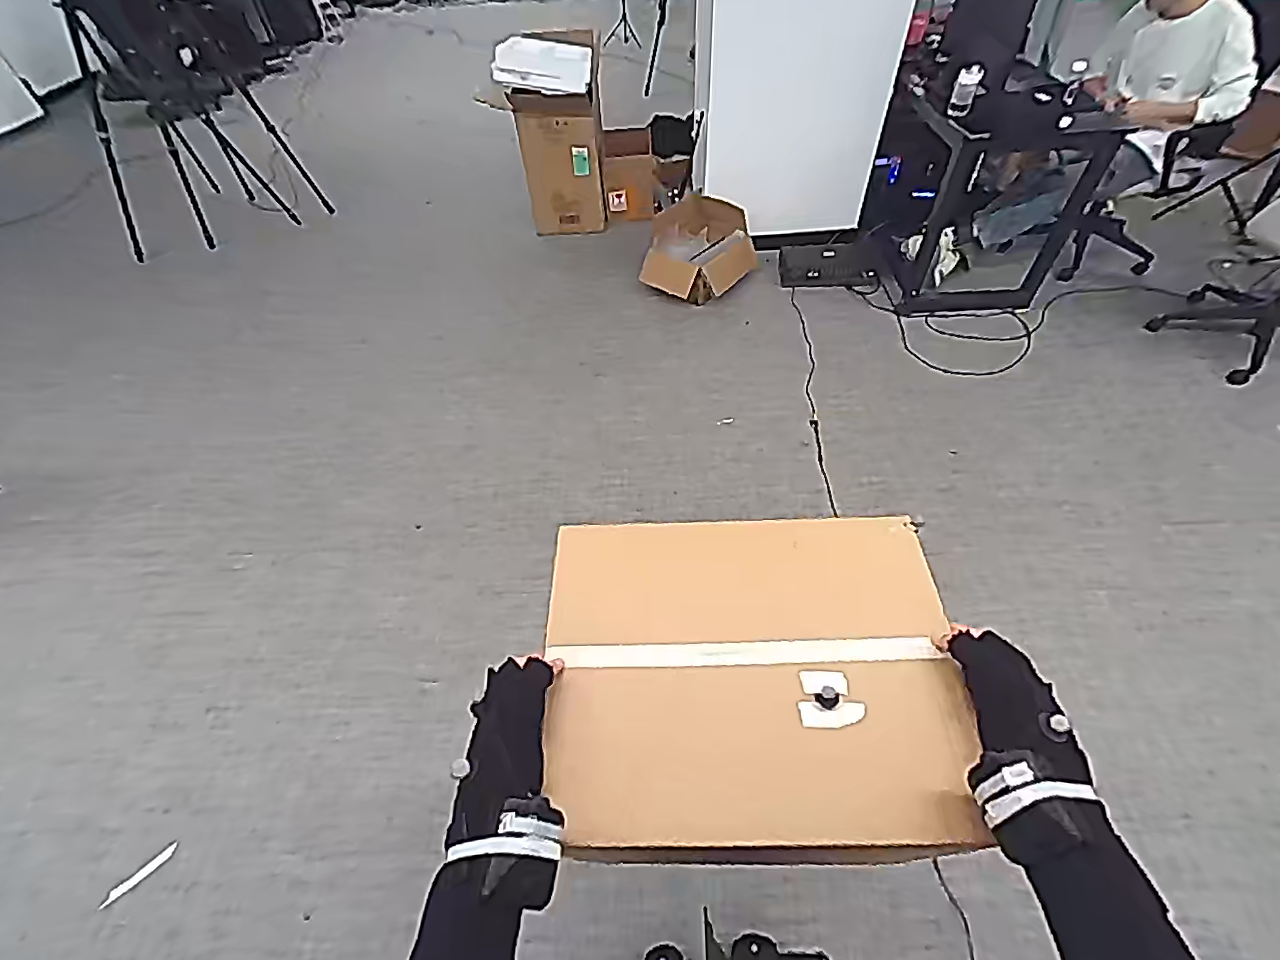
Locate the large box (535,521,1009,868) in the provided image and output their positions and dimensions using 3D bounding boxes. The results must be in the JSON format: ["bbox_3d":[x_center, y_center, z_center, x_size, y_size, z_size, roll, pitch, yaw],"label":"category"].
[{"bbox_3d":[0.111,0.268,0.656,0.408,0.320,0.320,-2,52,2],"label":"large box"}]
